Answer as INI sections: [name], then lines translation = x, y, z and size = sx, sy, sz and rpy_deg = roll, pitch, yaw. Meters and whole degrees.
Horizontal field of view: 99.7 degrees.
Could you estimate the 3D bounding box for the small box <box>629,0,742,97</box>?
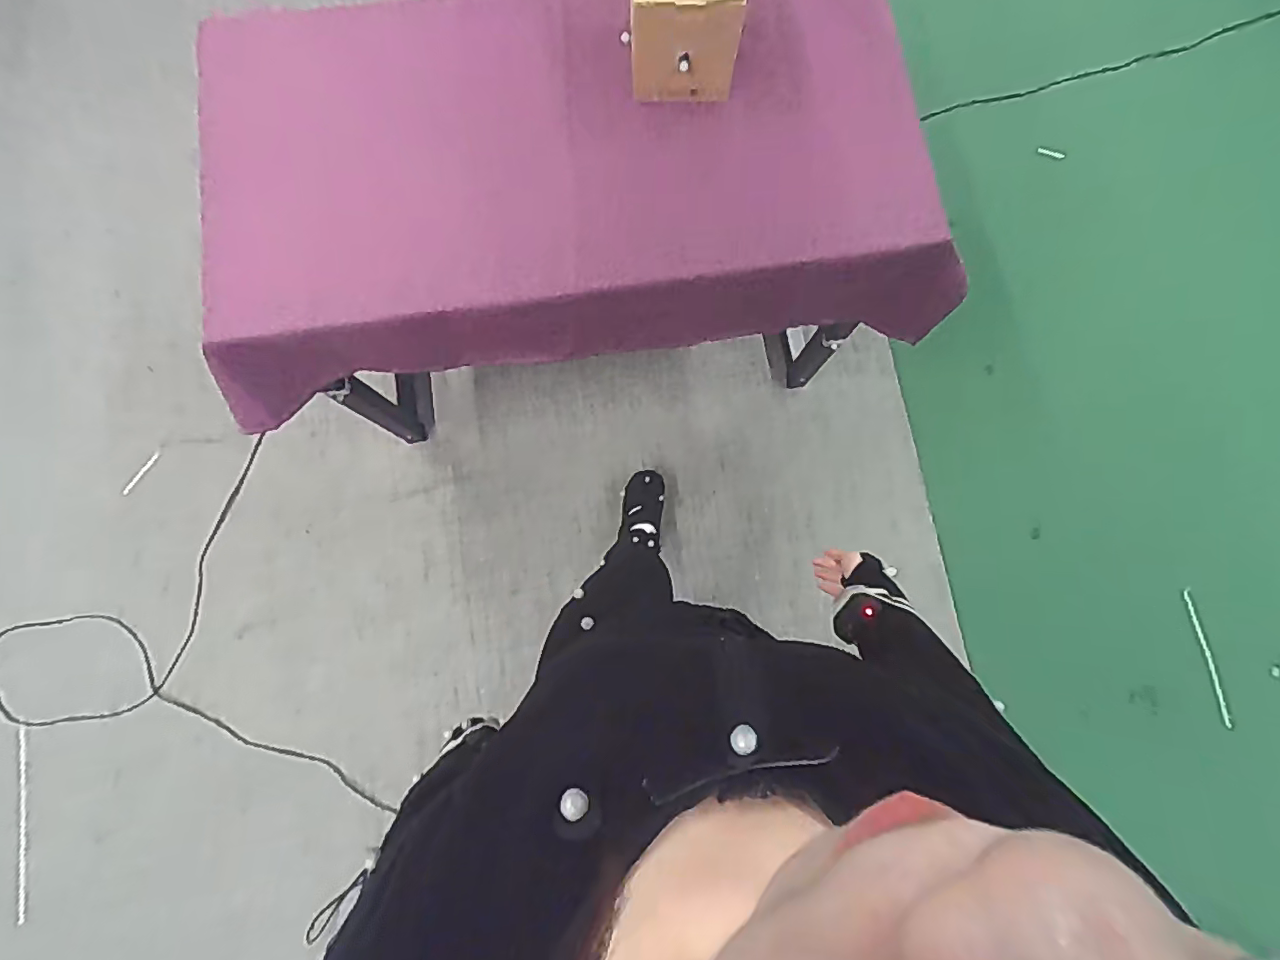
[small box]
translation = 0.066, -0.748, 0.859
size = 0.168, 0.176, 0.179
rpy_deg = -1, 81, -1
